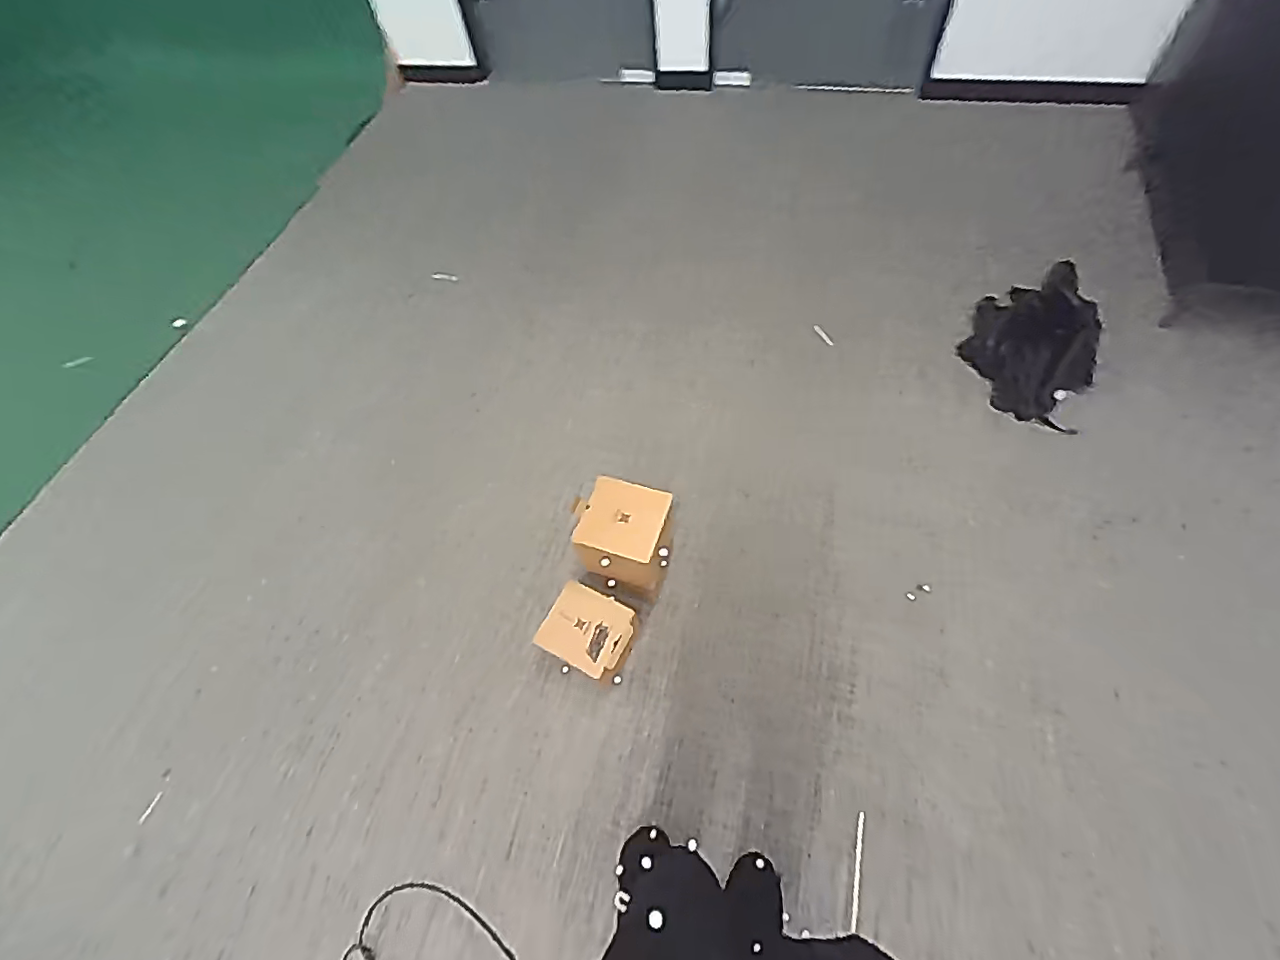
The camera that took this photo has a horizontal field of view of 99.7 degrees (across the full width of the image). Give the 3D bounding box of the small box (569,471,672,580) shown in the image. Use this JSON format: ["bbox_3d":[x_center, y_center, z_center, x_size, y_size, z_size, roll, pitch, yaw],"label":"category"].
[{"bbox_3d":[-0.033,0.108,1.199,0.179,0.176,0.168,15,63,14],"label":"small box"}]

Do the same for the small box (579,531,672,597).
[{"bbox_3d":[-0.028,0.174,1.348,0.179,0.176,0.168,15,63,14],"label":"small box"}]
